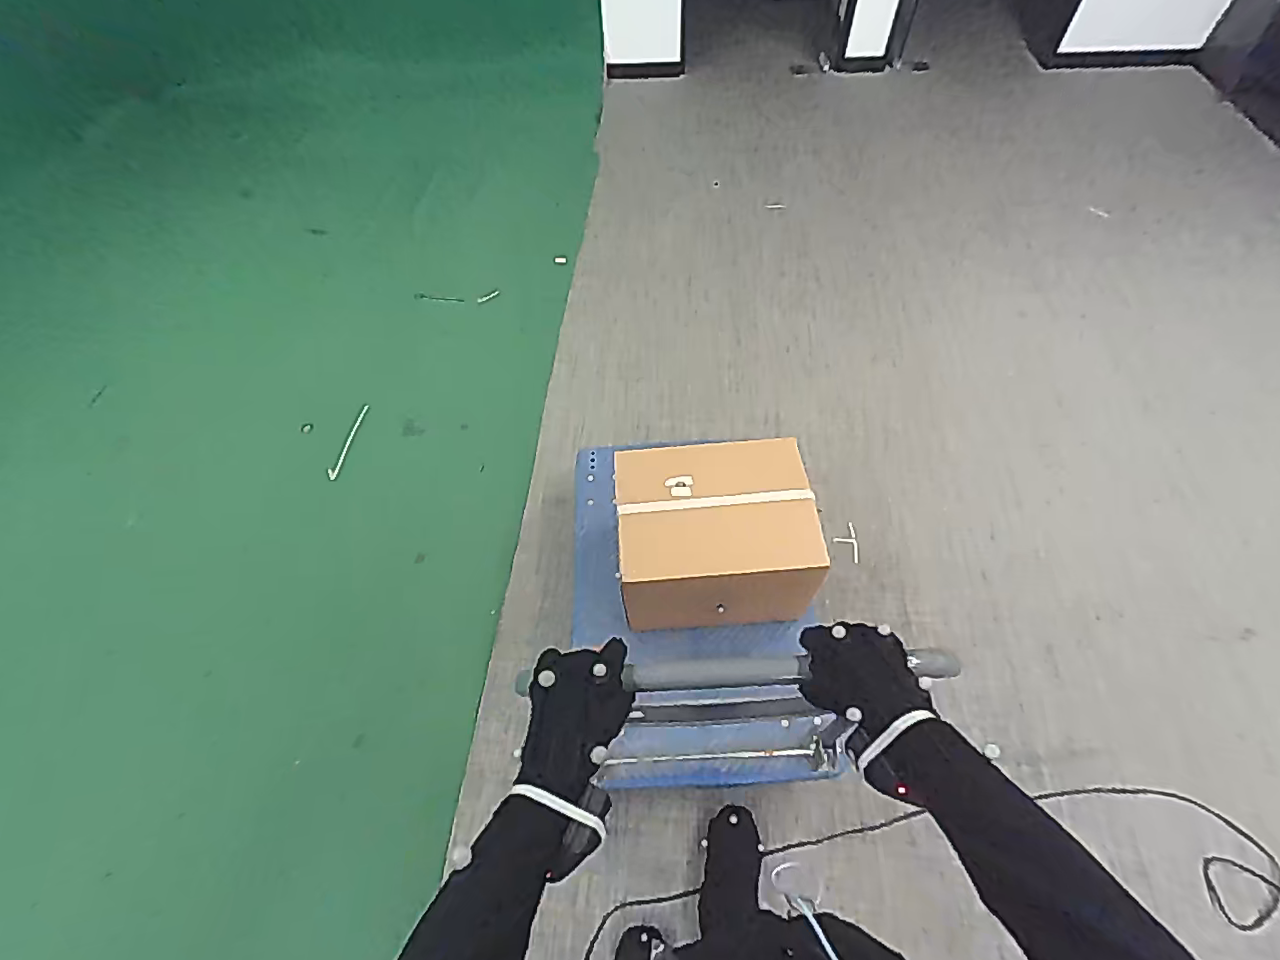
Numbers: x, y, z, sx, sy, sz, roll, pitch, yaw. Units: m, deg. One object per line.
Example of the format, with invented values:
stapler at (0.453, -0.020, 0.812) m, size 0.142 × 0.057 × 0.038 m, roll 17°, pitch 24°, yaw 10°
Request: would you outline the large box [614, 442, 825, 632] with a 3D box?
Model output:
large box at (0.163, 0.143, 1.248) m, size 0.408 × 0.320 × 0.320 m, roll -5°, pitch 56°, yaw 2°
